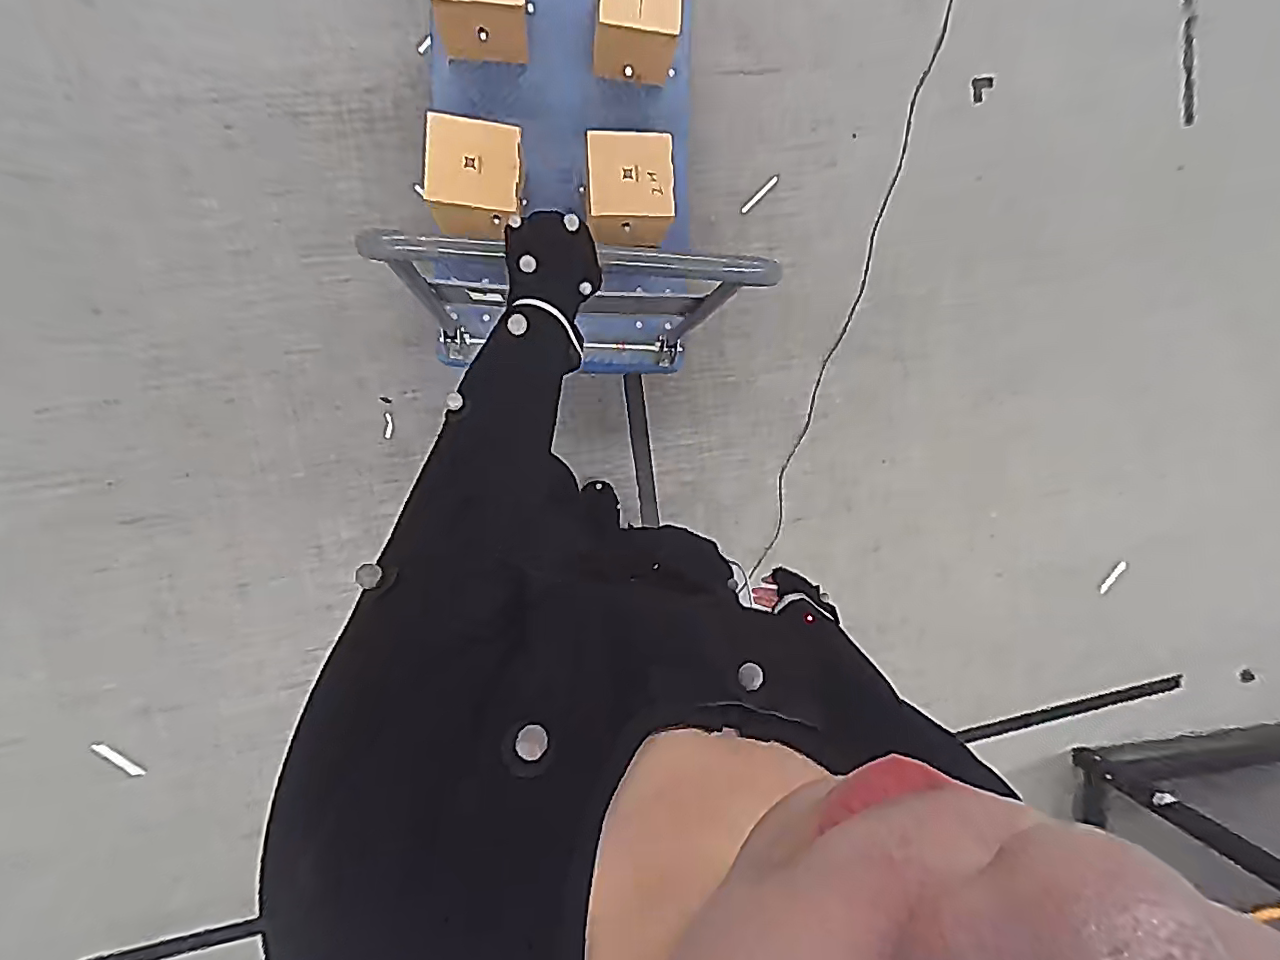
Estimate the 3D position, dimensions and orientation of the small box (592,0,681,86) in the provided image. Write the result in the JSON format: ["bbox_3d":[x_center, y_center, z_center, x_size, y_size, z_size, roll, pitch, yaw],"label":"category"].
[{"bbox_3d":[-0.011,-0.988,1.146,0.168,0.176,0.179,2,95,-9],"label":"small box"}]

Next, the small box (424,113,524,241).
[{"bbox_3d":[-0.336,-0.615,1.120,0.179,0.176,0.168,3,93,-11],"label":"small box"}]

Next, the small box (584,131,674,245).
[{"bbox_3d":[-0.030,-0.621,1.169,0.179,0.176,0.168,-3,95,-9],"label":"small box"}]
